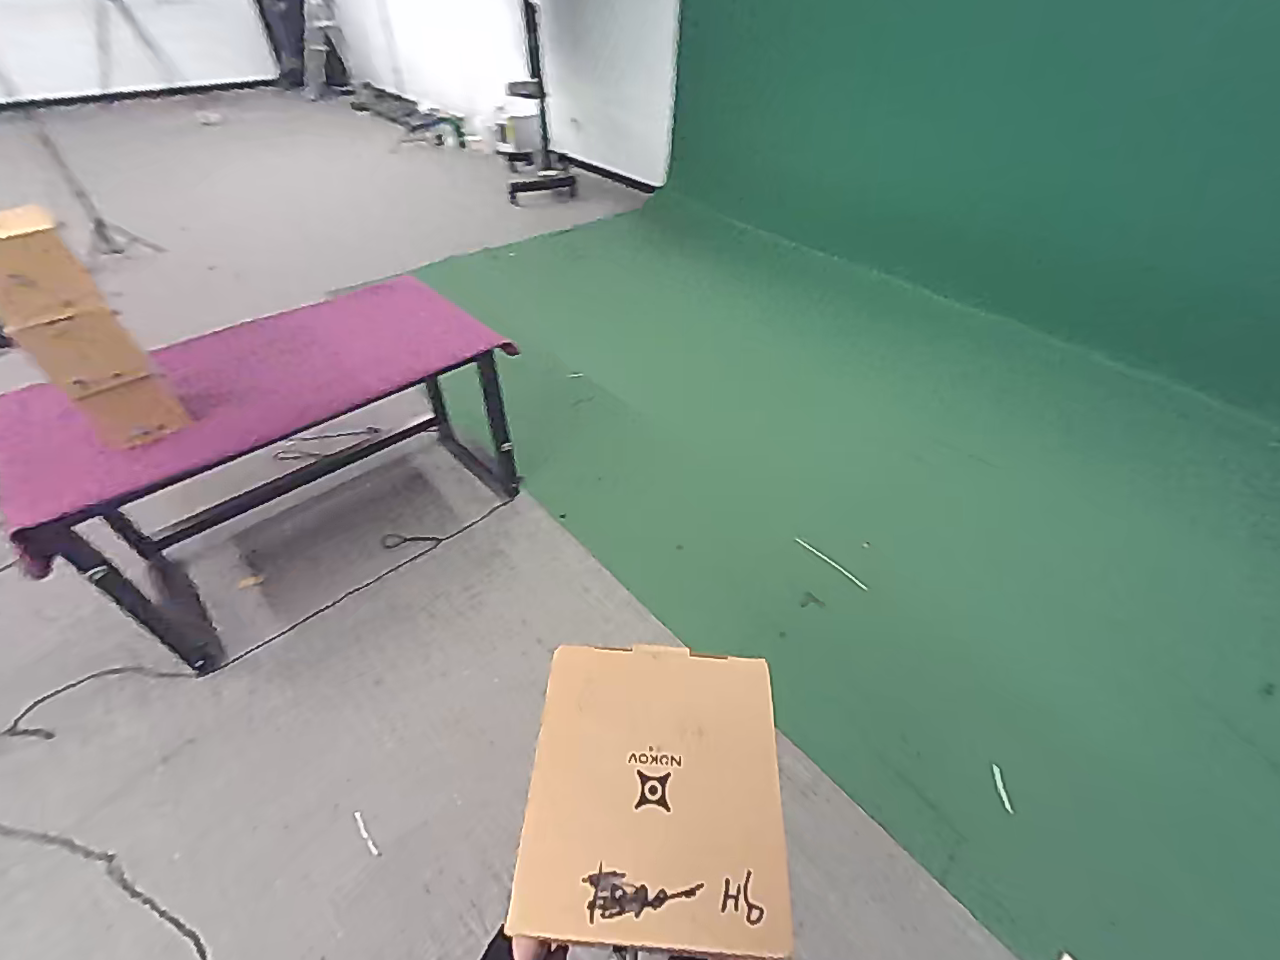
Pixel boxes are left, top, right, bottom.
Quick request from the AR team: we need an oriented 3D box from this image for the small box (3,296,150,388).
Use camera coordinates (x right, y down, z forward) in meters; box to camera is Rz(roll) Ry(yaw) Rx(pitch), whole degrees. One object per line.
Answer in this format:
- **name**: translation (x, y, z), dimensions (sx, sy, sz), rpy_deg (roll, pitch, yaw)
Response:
- **small box**: translation (-1.245, -0.325, 1.201), dimensions (0.168, 0.176, 0.179), rpy_deg (-33, 53, -30)

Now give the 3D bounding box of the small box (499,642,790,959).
- **small box**: translation (0.005, 0.247, 0.412), dimensions (0.168, 0.176, 0.179), rpy_deg (3, 48, 2)

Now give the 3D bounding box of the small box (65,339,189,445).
- **small box**: translation (-1.256, -0.214, 1.321), dimensions (0.168, 0.176, 0.179), rpy_deg (-33, 55, -31)

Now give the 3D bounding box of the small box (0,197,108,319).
- **small box**: translation (-1.235, -0.443, 1.090), dimensions (0.179, 0.176, 0.168), rpy_deg (34, 53, 29)
